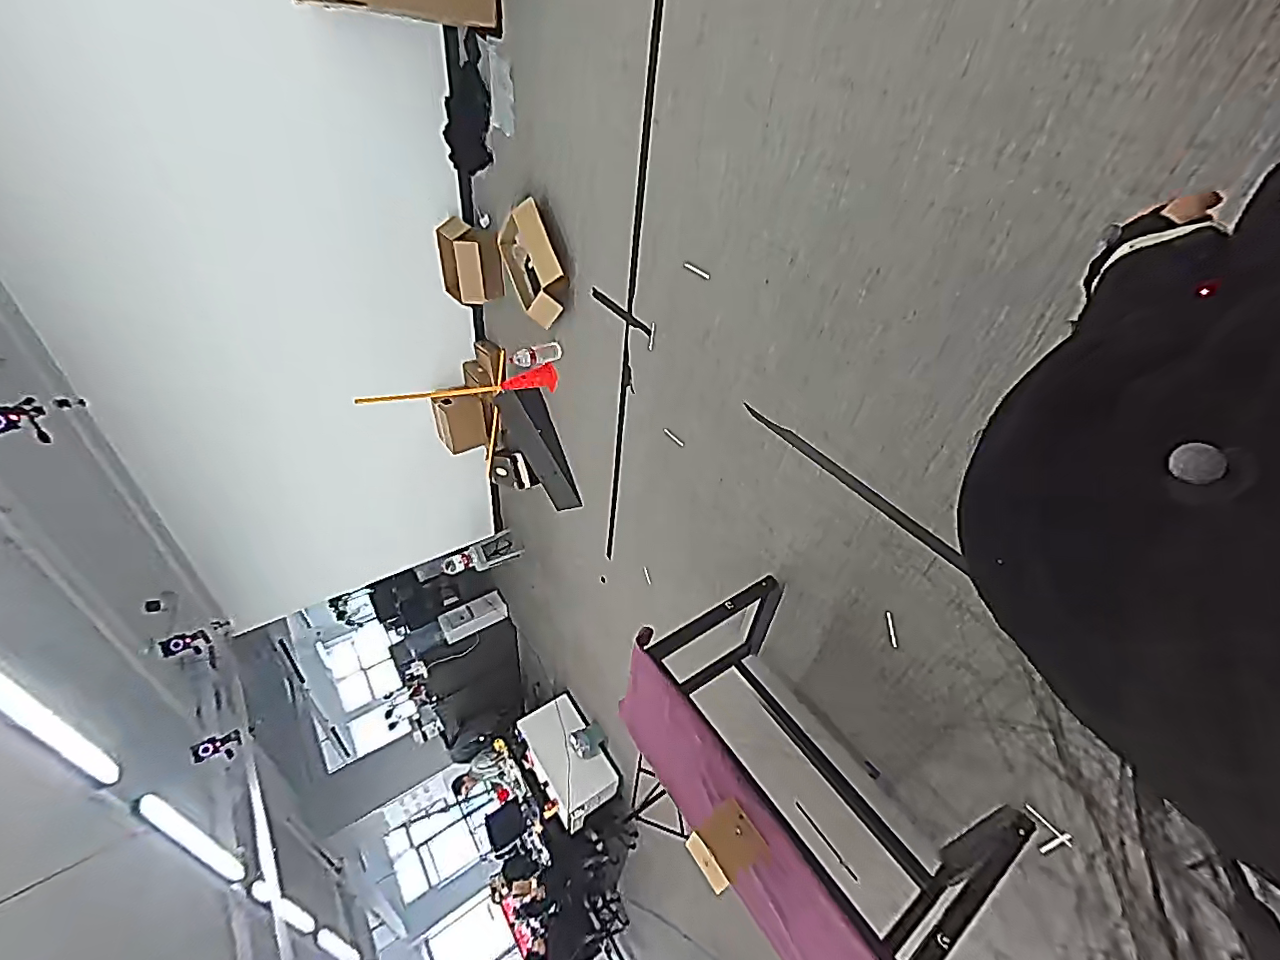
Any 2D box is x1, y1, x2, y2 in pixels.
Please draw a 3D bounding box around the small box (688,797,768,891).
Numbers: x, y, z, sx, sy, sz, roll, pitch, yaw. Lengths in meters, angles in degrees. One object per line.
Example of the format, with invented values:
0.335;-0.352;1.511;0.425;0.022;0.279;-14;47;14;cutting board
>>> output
0.278;1.152;1.714;0.168;0.176;0.179;46;144;33;small box
